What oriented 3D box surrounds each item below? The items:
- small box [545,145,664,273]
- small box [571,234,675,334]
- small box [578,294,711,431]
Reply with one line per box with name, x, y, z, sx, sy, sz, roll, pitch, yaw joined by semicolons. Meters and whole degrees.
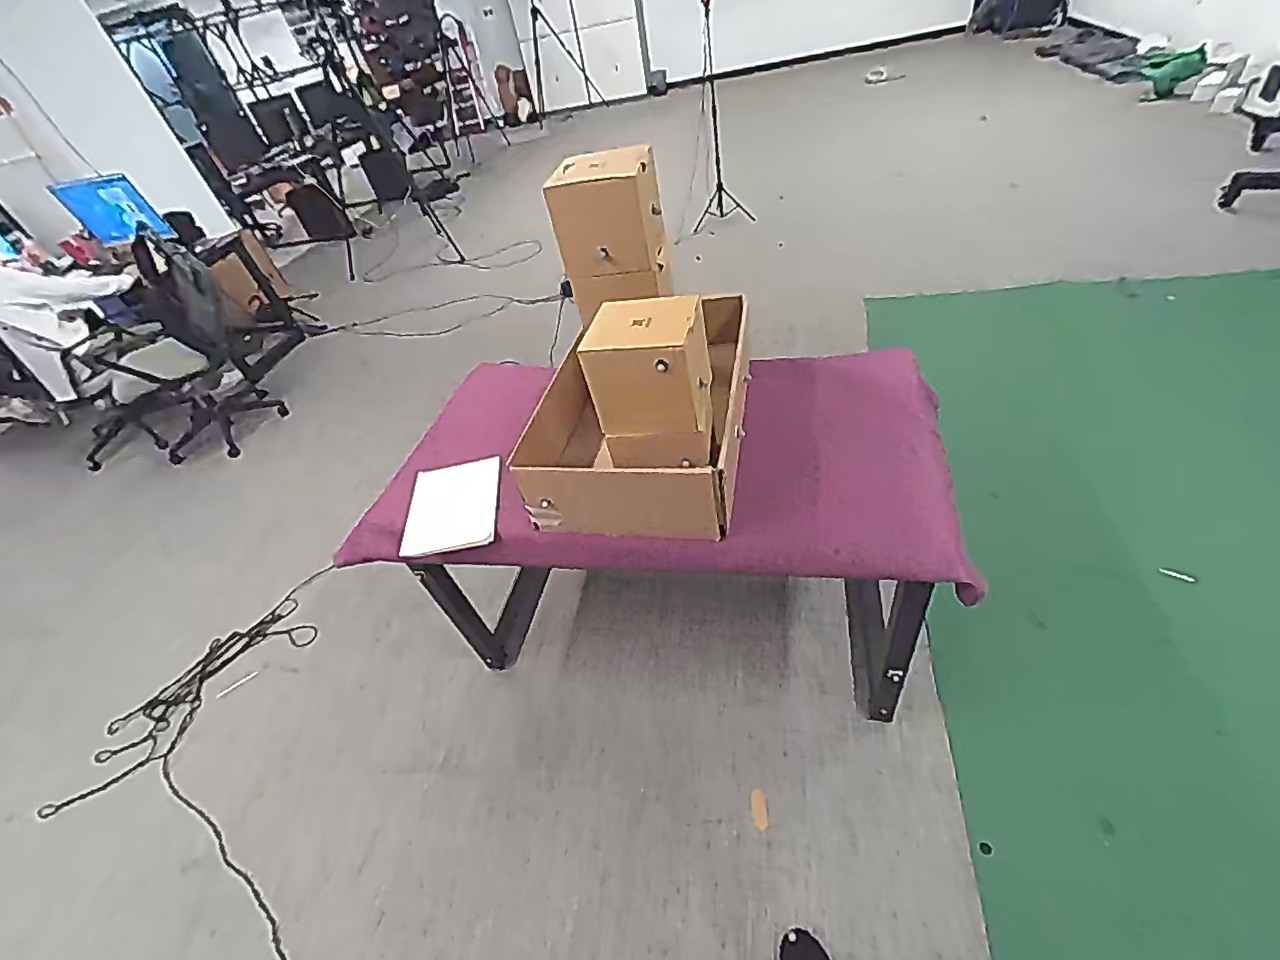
small box;-0.056;-0.514;1.036;0.179;0.176;0.168;2;46;15
small box;-0.026;-0.396;1.146;0.179;0.176;0.168;-1;45;14
small box;0.018;-0.196;0.920;0.179;0.176;0.168;2;44;16
